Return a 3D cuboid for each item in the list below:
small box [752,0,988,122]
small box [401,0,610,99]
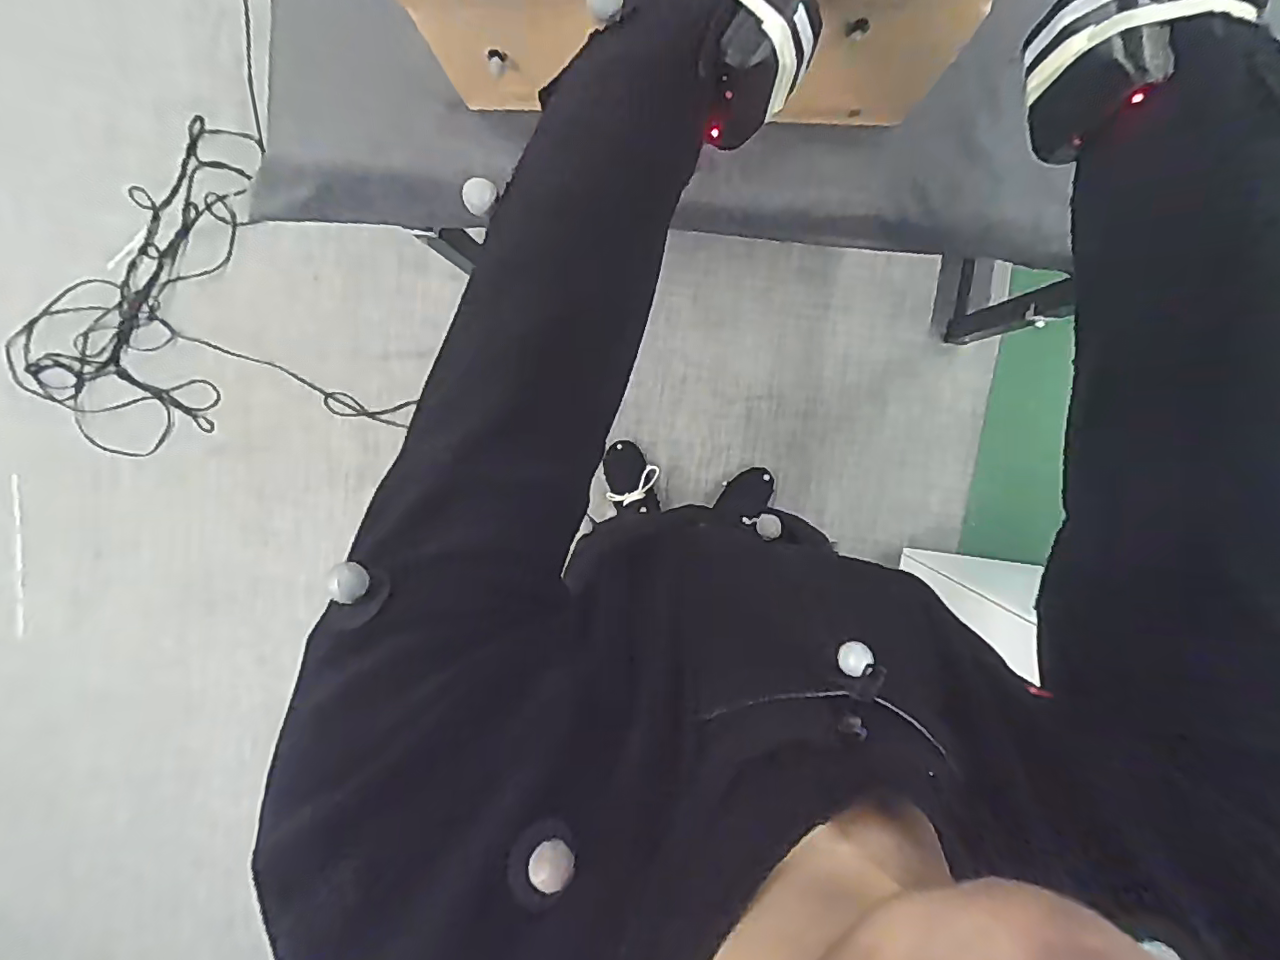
[{"bbox_3d":[0.205,-0.478,0.506,0.168,0.176,0.179,4,95,2],"label":"small box"},{"bbox_3d":[-0.118,-0.500,0.516,0.168,0.176,0.179,2,96,2],"label":"small box"}]
